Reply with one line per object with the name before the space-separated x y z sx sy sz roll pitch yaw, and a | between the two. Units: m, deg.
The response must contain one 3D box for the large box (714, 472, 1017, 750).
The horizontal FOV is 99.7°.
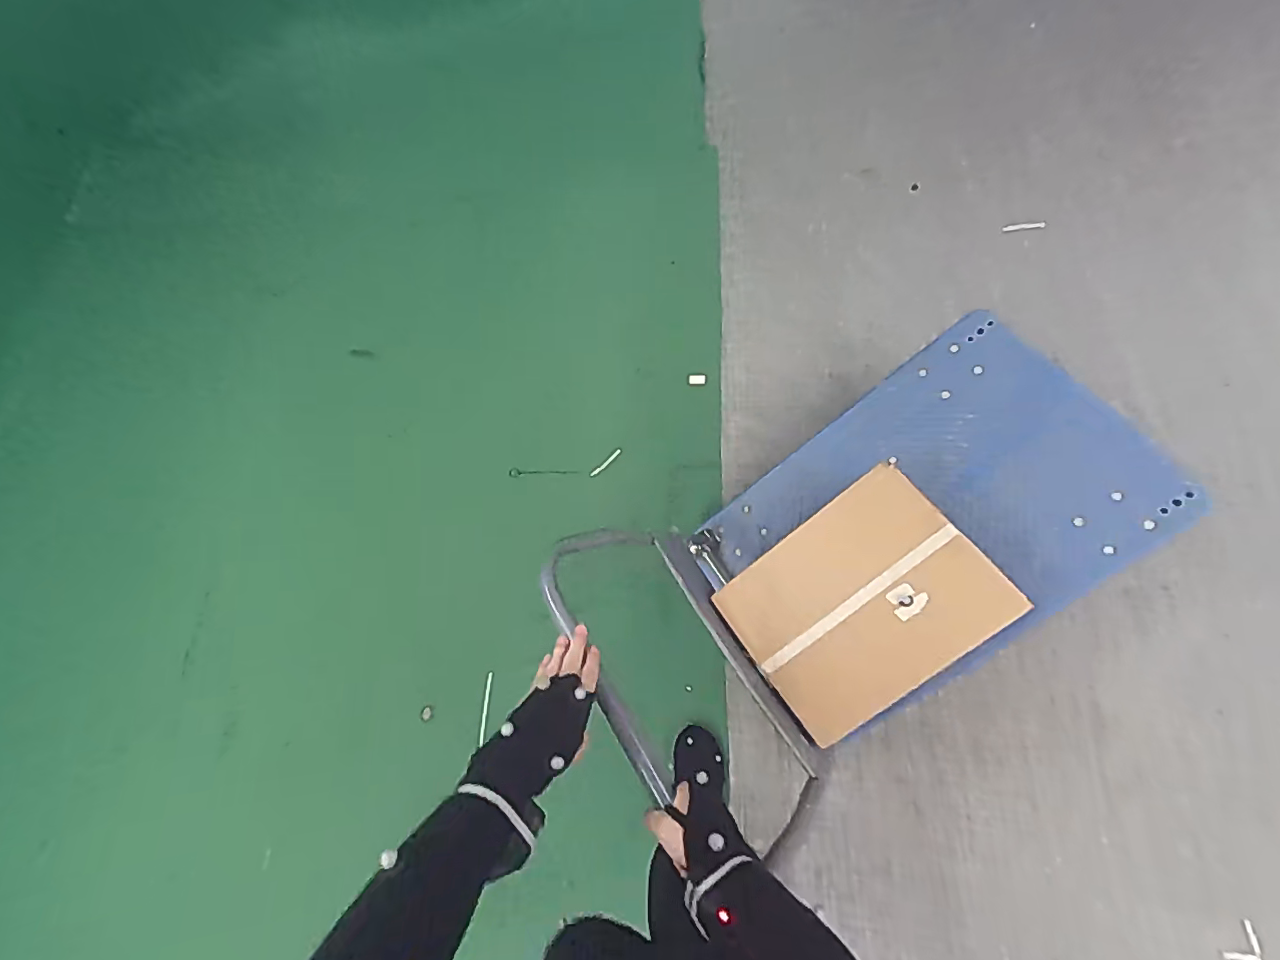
large box | 0.421 0.252 1.073 0.408 0.320 0.320 -40 68 11
